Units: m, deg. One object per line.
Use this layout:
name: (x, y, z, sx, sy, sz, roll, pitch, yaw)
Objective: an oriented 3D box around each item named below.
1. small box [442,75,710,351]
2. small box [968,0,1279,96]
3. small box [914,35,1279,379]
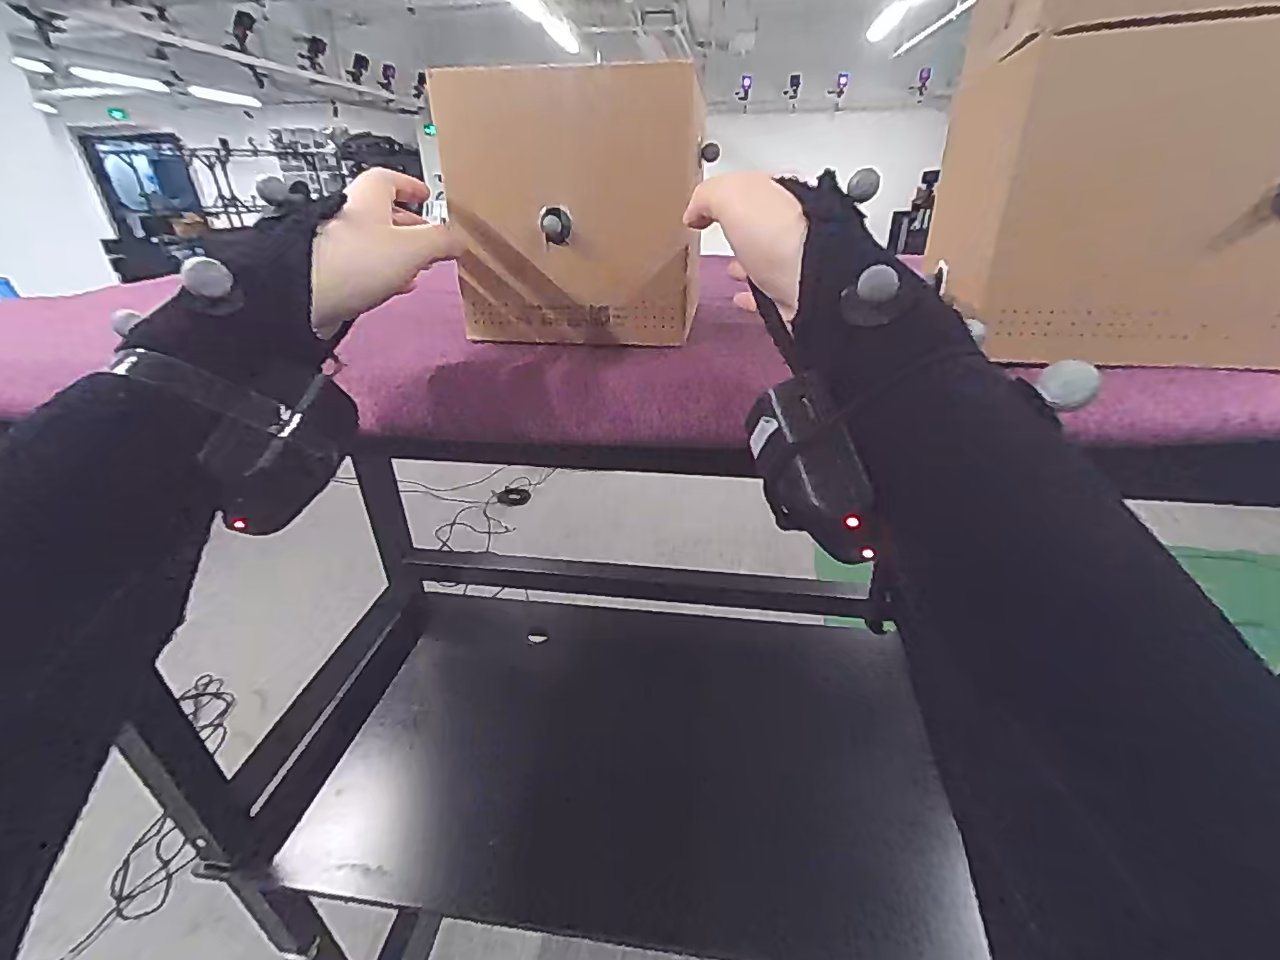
small box: (-0.033, -0.208, 0.439, 0.168, 0.176, 0.179, 4, 28, 7)
small box: (0.303, -0.317, 0.296, 0.179, 0.176, 0.168, 7, 27, 15)
small box: (0.307, -0.169, 0.362, 0.179, 0.176, 0.168, 4, 26, 13)
